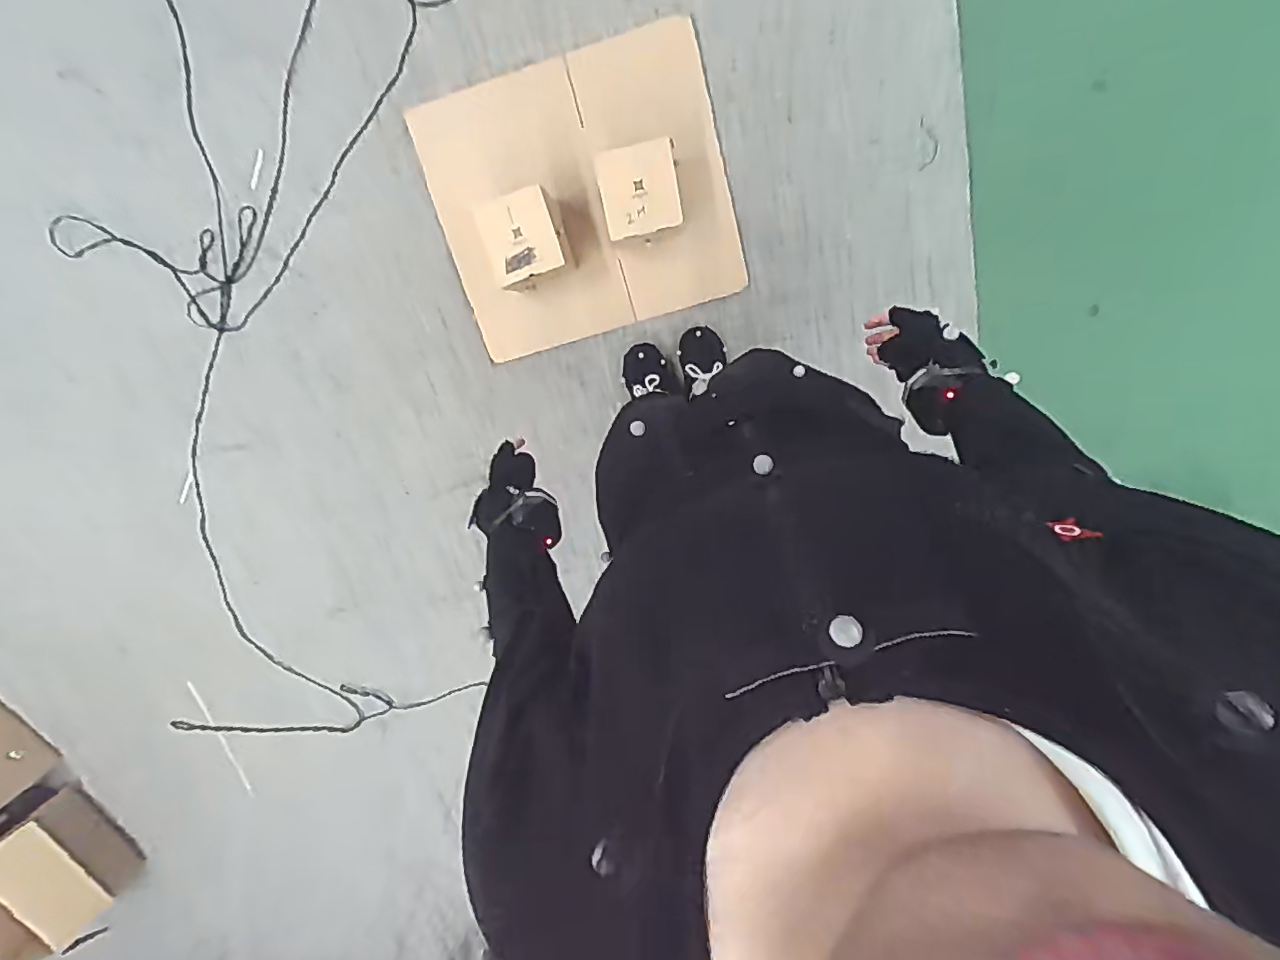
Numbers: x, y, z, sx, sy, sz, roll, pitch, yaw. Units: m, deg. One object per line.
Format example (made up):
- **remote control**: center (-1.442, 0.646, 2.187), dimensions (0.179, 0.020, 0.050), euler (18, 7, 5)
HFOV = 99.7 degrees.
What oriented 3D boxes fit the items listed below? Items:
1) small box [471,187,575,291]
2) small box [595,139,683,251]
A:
- **small box**: center (-0.263, -0.551, 1.263), dimensions (0.168, 0.176, 0.179), euler (-17, 105, 7)
- **small box**: center (0.001, -0.639, 1.231), dimensions (0.168, 0.176, 0.179), euler (-10, 106, 6)
